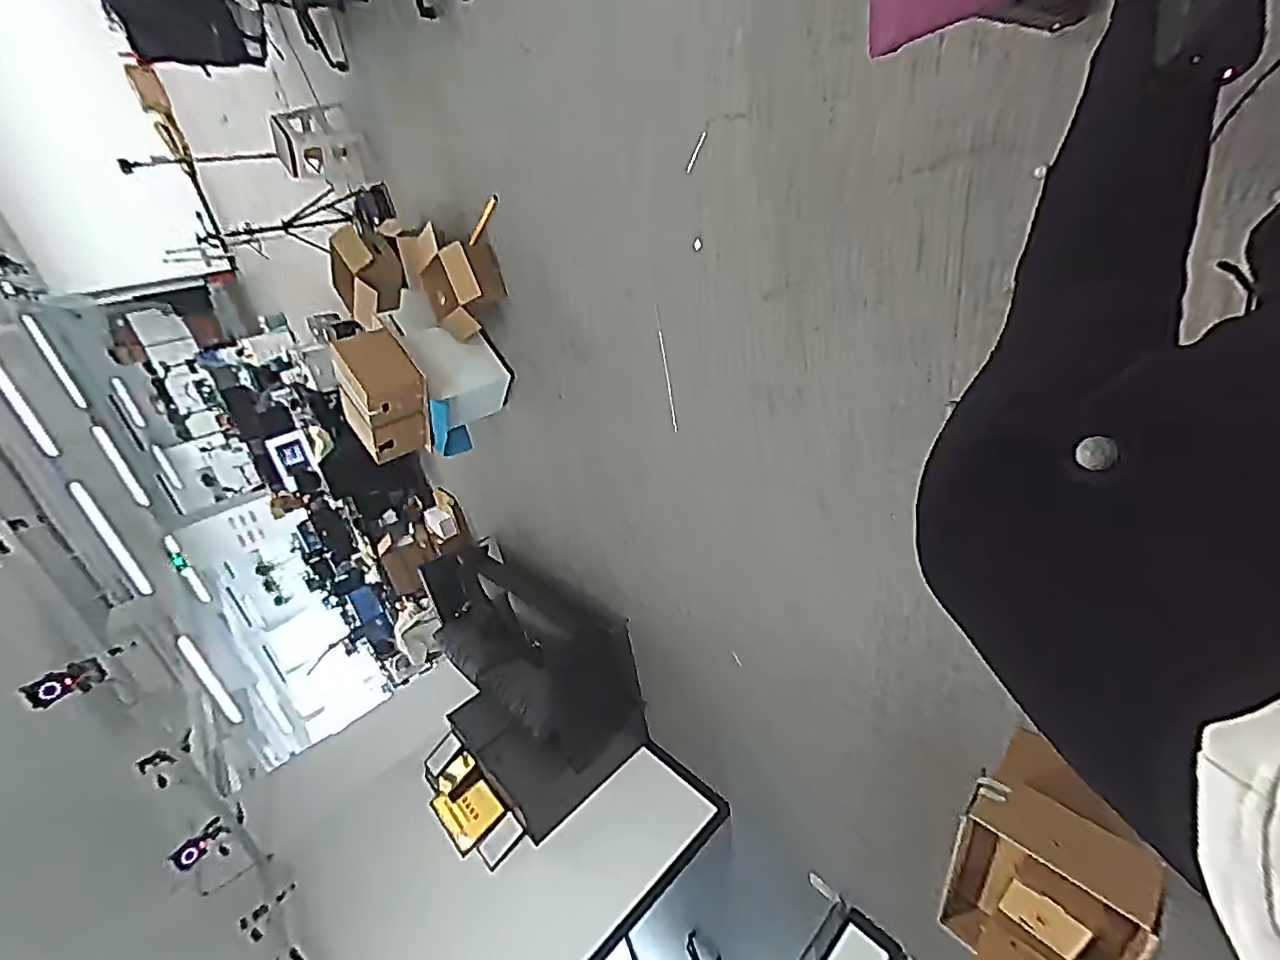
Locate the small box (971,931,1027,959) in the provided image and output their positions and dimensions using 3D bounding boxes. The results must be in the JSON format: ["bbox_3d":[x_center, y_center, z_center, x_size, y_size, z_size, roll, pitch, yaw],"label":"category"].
[{"bbox_3d":[0.956,1.360,1.421,0.168,0.176,0.179,20,126,45],"label":"small box"}]

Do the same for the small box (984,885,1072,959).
[{"bbox_3d":[1.076,1.303,1.515,0.168,0.176,0.179,20,127,44],"label":"small box"}]
